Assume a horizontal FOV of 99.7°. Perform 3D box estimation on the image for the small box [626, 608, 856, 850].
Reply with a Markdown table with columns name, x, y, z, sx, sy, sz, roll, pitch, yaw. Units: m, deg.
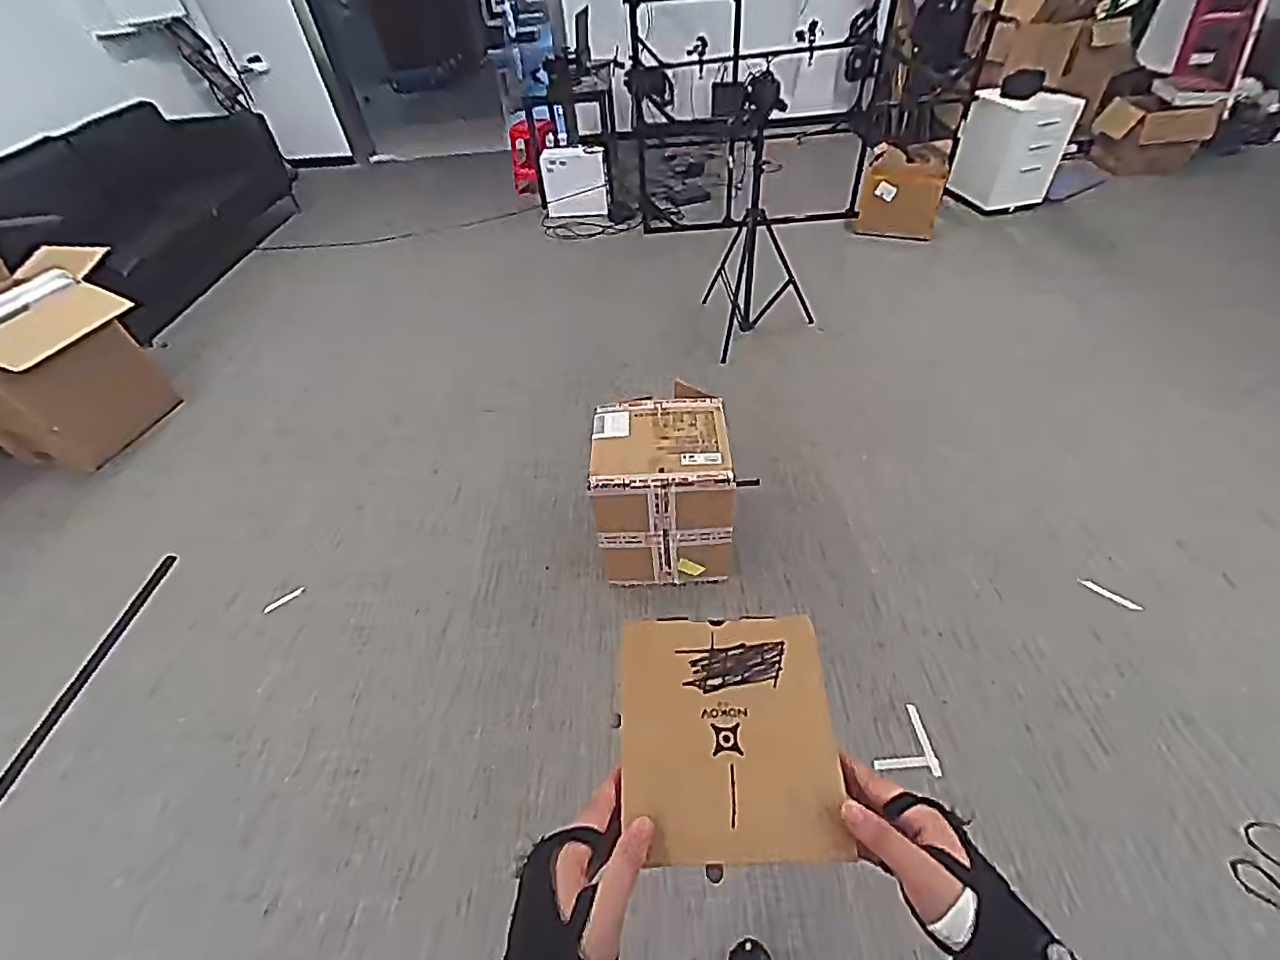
| name | x | y | z | sx | sy | sz | roll | pitch | yaw |
| --- | --- | --- | --- | --- | --- | --- | --- | --- | --- |
| small box | 0.071 | 0.229 | 0.491 | 0.168 | 0.176 | 0.179 | -1 | 58 | 0 |
